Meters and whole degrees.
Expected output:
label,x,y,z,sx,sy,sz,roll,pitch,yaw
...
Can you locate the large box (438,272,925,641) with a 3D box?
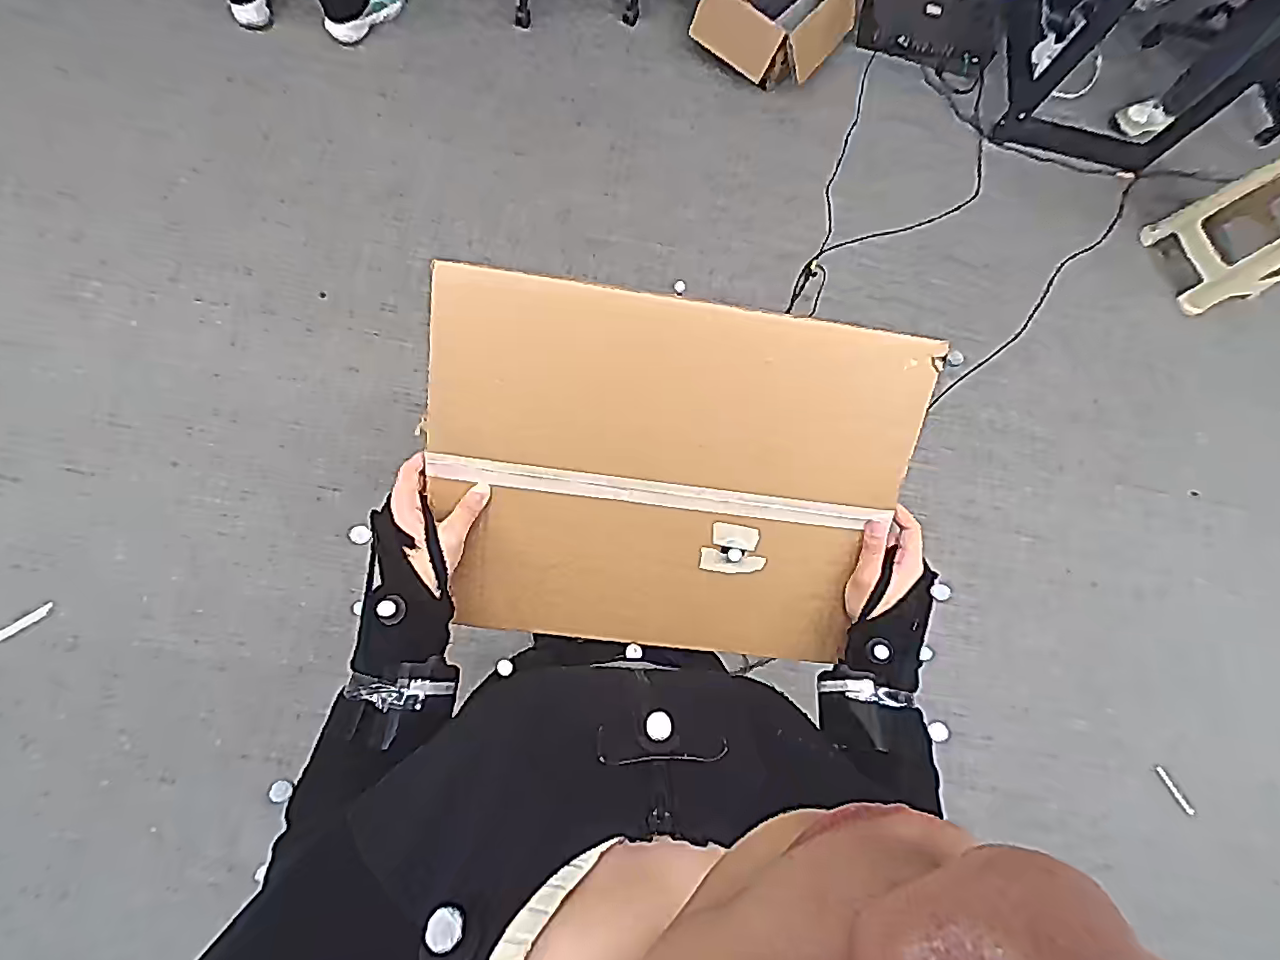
label,x,y,z,sx,sy,sz,roll,pitch,yaw
large box,0.014,-0.047,0.619,0.408,0.320,0.320,6,110,-6
